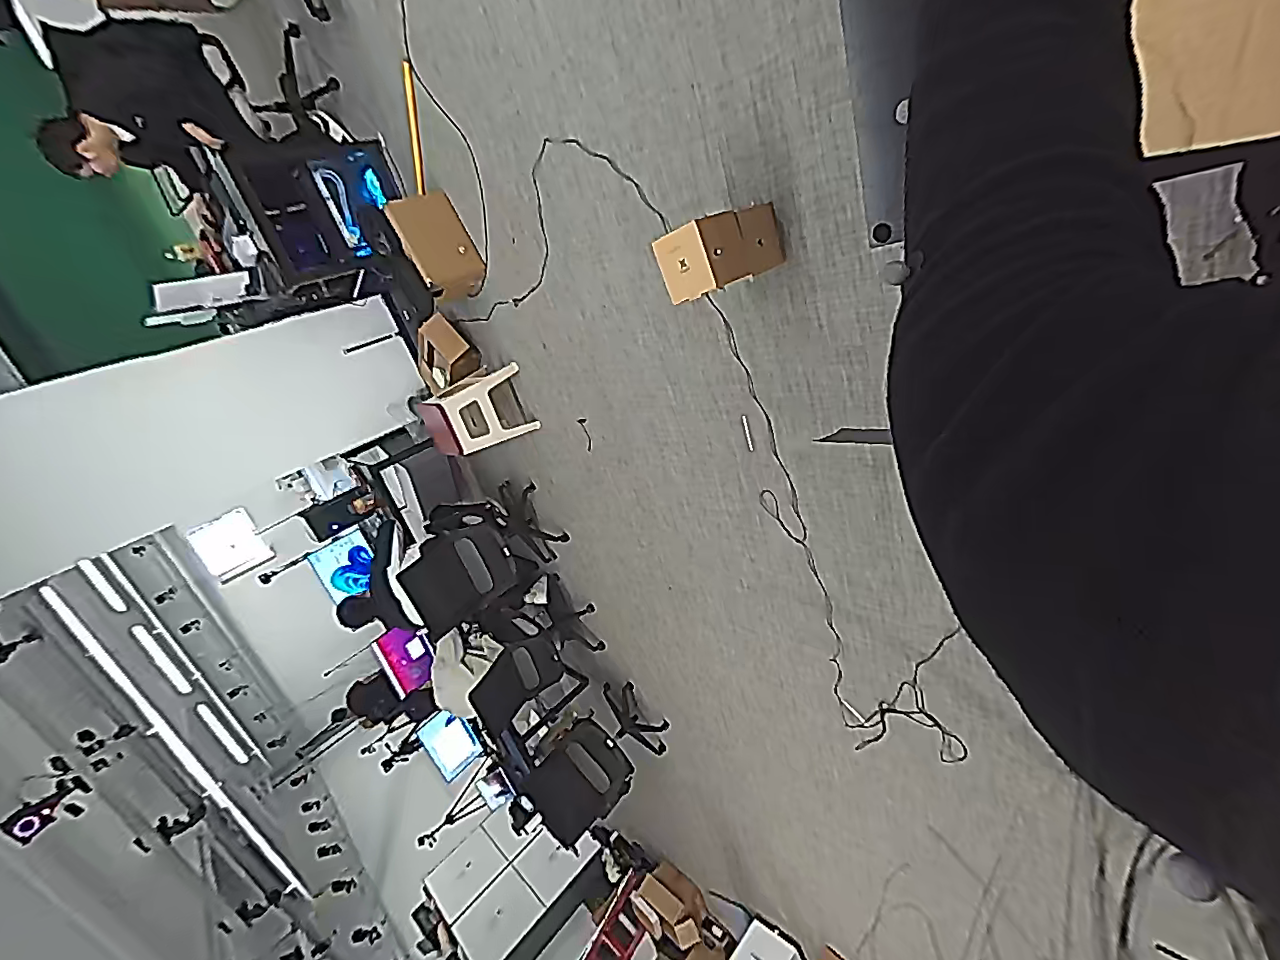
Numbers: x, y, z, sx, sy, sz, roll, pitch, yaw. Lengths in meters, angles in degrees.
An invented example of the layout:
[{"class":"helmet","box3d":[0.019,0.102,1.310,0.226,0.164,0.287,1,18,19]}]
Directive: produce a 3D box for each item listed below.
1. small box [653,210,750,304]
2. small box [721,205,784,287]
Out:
[{"class":"small box","box3d":[0.170,-0.600,1.455,0.168,0.176,0.179,-3,114,50]},{"class":"small box","box3d":[0.285,-0.669,1.548,0.168,0.176,0.179,2,120,50]}]
